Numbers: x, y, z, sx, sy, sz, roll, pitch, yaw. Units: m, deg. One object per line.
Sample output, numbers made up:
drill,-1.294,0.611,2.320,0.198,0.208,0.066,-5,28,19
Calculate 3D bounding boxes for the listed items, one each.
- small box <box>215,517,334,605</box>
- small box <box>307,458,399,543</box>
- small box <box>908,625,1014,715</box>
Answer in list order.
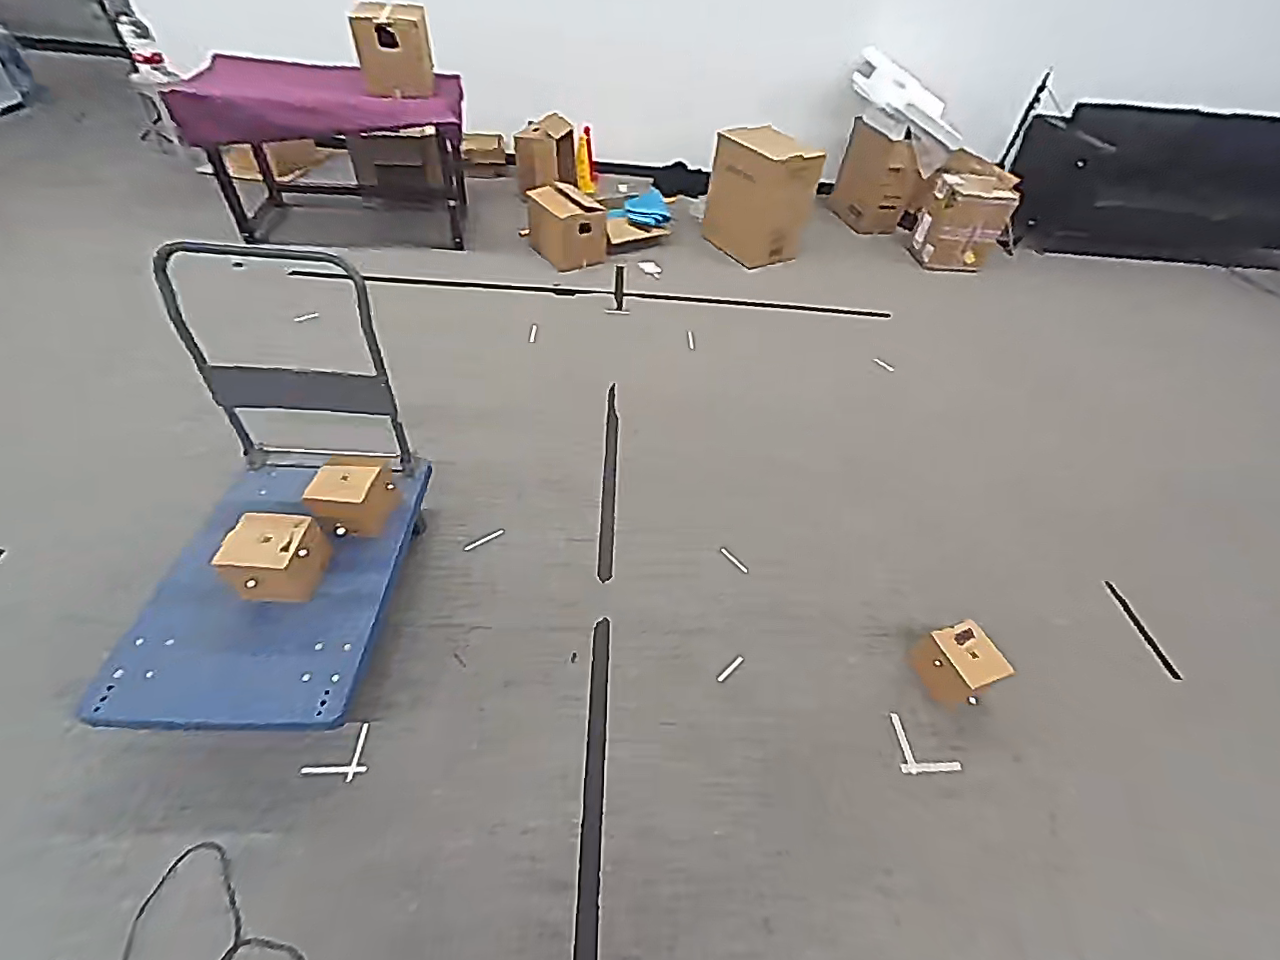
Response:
small box,-0.952,0.216,1.428,0.179,0.176,0.168,4,47,-2
small box,-0.832,0.061,1.592,0.168,0.176,0.179,5,48,0
small box,0.937,0.564,1.600,0.168,0.176,0.179,-11,49,-17
